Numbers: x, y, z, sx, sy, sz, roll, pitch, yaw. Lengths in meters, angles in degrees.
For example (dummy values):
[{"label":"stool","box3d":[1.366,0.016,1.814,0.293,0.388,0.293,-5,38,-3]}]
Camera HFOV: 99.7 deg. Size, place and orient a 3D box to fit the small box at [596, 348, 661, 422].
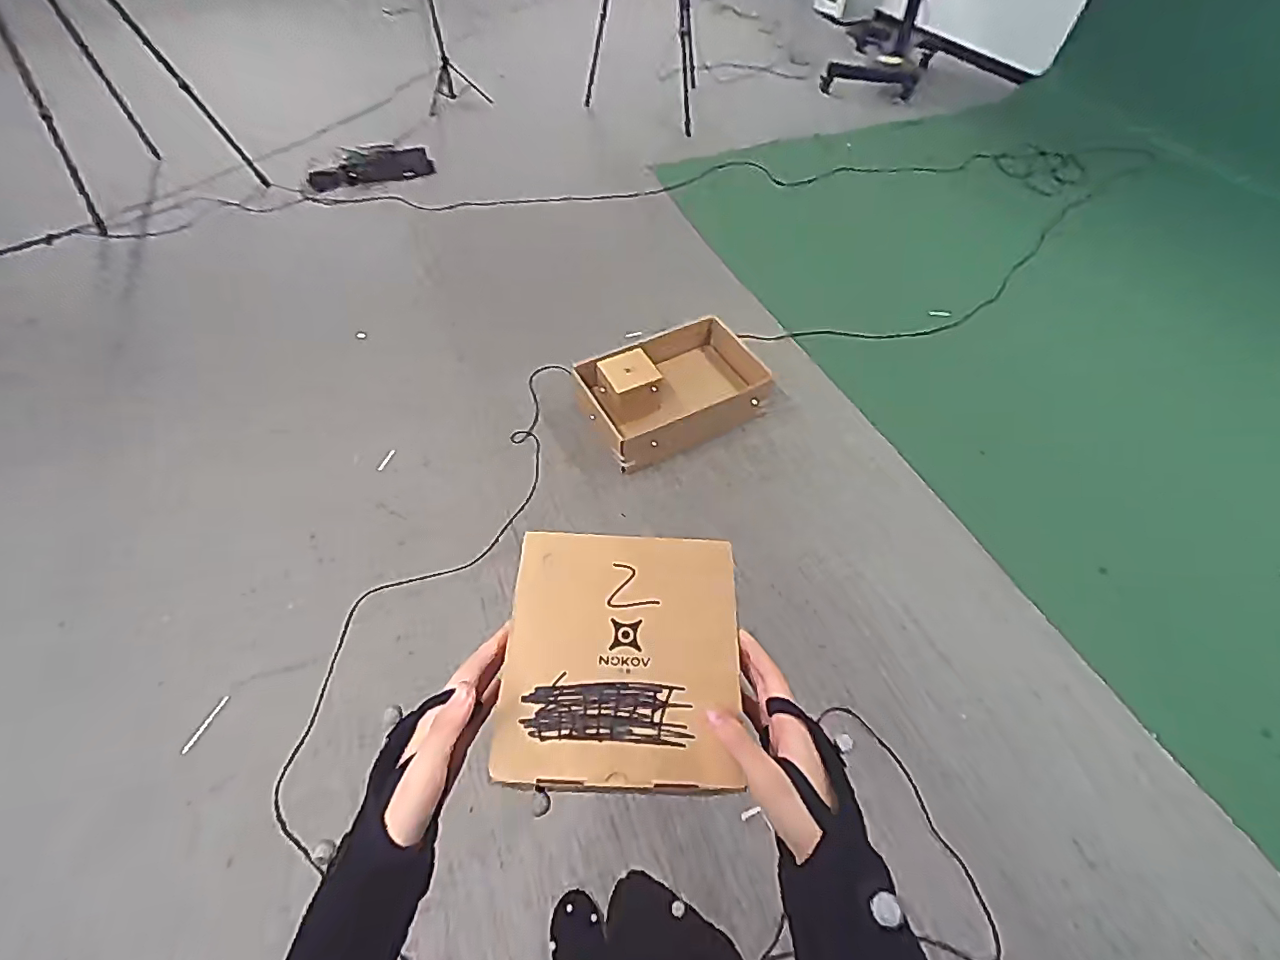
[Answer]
[{"label":"small box","box3d":[-0.039,-0.331,1.911,0.179,0.176,0.168,-23,59,-17]}]
